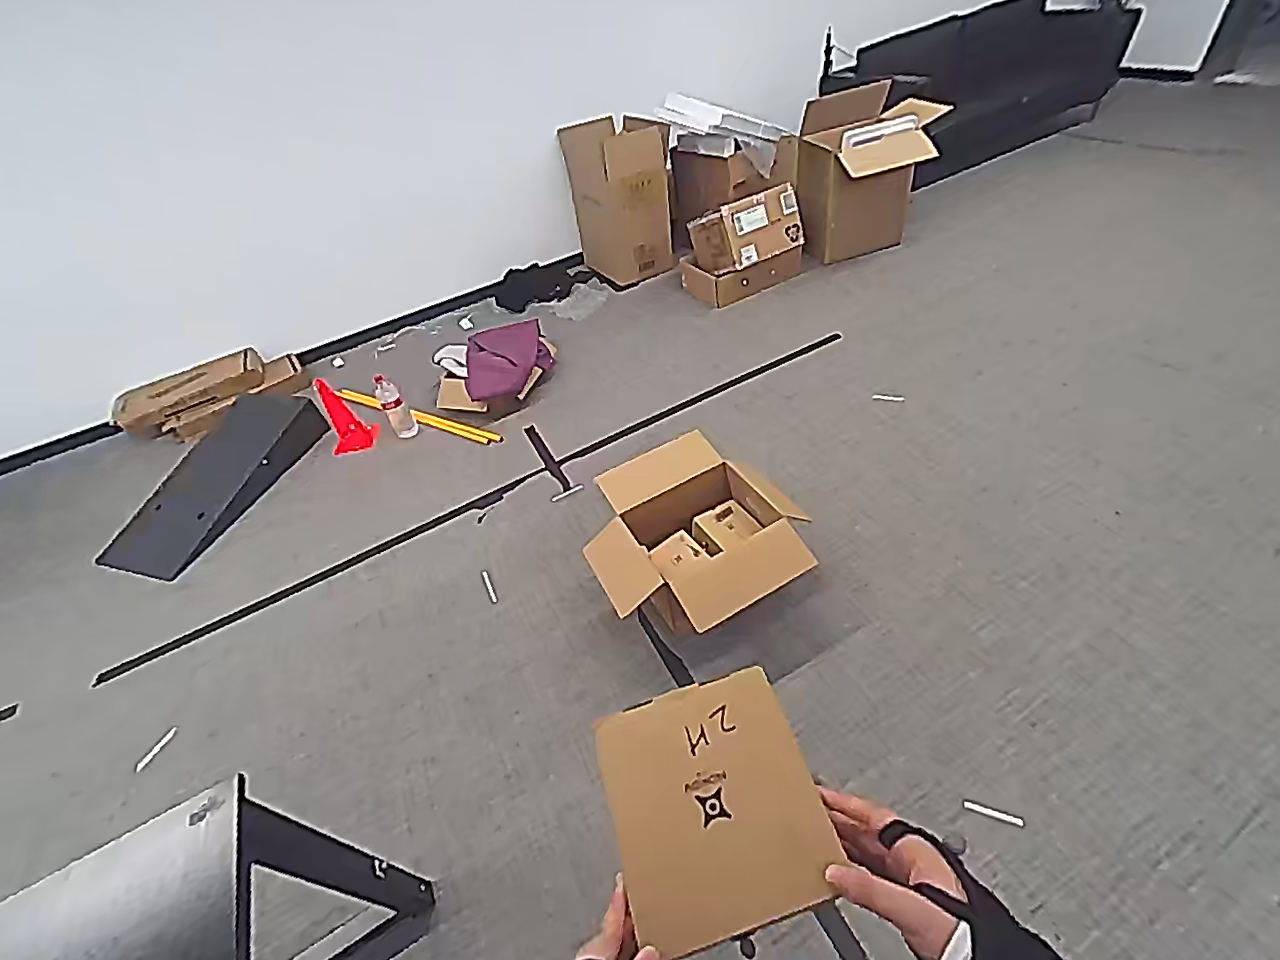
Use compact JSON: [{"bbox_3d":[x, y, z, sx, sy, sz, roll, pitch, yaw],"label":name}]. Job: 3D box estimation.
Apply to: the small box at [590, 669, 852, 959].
[{"bbox_3d":[0.064,0.307,0.495,0.168,0.176,0.179,-16,49,-6],"label":"small box"}]
